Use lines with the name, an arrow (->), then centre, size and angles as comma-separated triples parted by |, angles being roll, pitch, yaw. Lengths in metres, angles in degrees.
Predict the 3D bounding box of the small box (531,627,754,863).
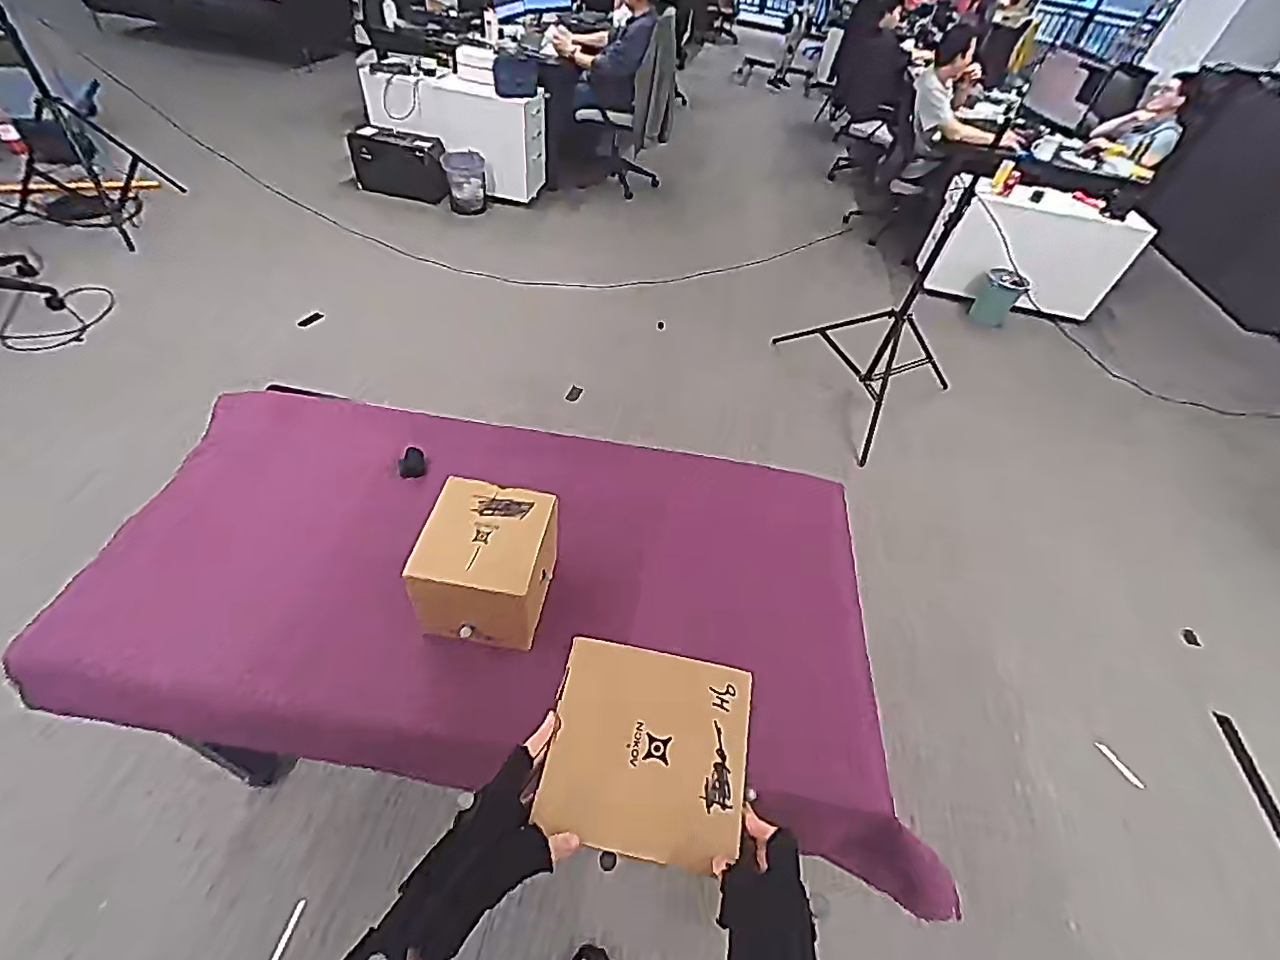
small box -> 0.007, 0.271, 0.546 | 0.179, 0.176, 0.168 | 10, 54, 5

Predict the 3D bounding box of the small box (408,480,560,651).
small box -> -0.223, 0.131, 0.816 | 0.168, 0.176, 0.179 | 10, 47, 0
